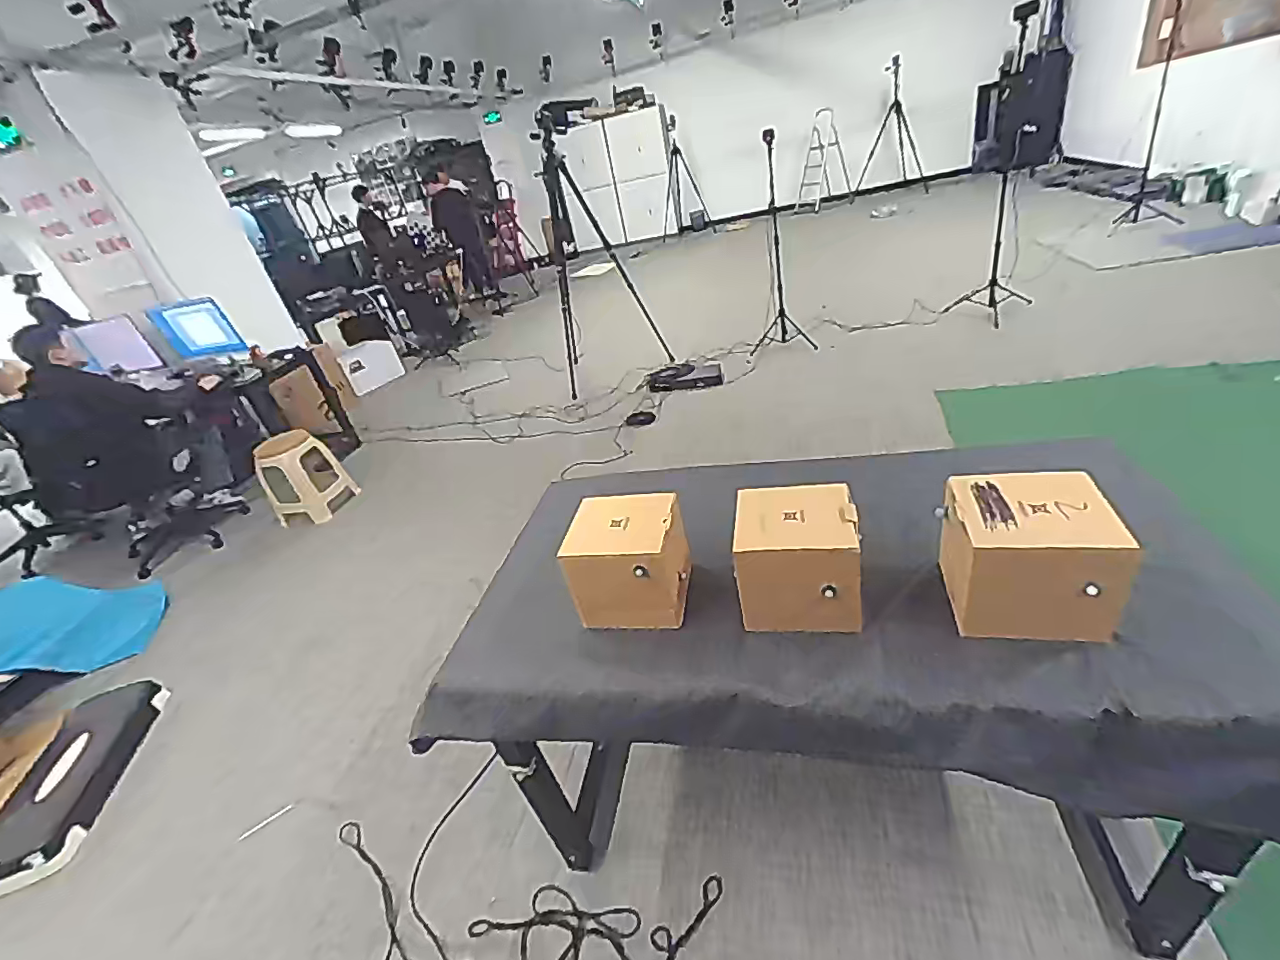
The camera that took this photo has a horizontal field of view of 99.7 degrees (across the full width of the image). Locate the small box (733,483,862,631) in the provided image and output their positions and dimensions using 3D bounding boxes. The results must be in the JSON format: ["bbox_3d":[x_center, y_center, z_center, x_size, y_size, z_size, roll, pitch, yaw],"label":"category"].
[{"bbox_3d":[0.252,0.124,0.860,0.179,0.176,0.168,-6,30,17],"label":"small box"}]

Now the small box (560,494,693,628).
[{"bbox_3d":[-0.014,0.142,0.946,0.179,0.176,0.168,-4,32,16],"label":"small box"}]
